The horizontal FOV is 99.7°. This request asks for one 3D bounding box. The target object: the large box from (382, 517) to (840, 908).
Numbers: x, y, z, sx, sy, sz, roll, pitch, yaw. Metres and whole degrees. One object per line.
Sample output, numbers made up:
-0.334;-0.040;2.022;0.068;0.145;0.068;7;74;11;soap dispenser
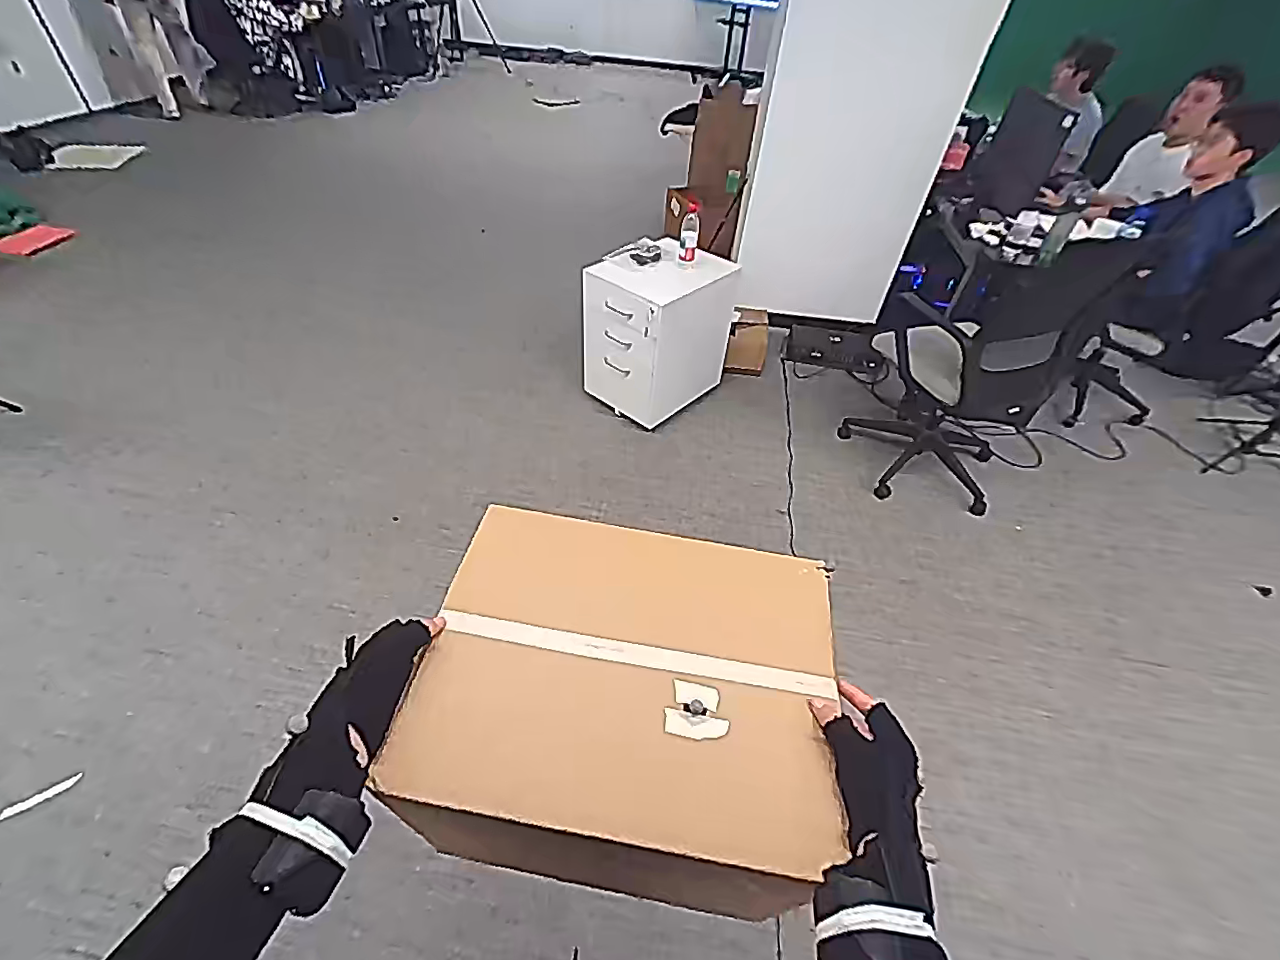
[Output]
-0.020;0.285;0.663;0.408;0.320;0.320;10;48;3;large box
